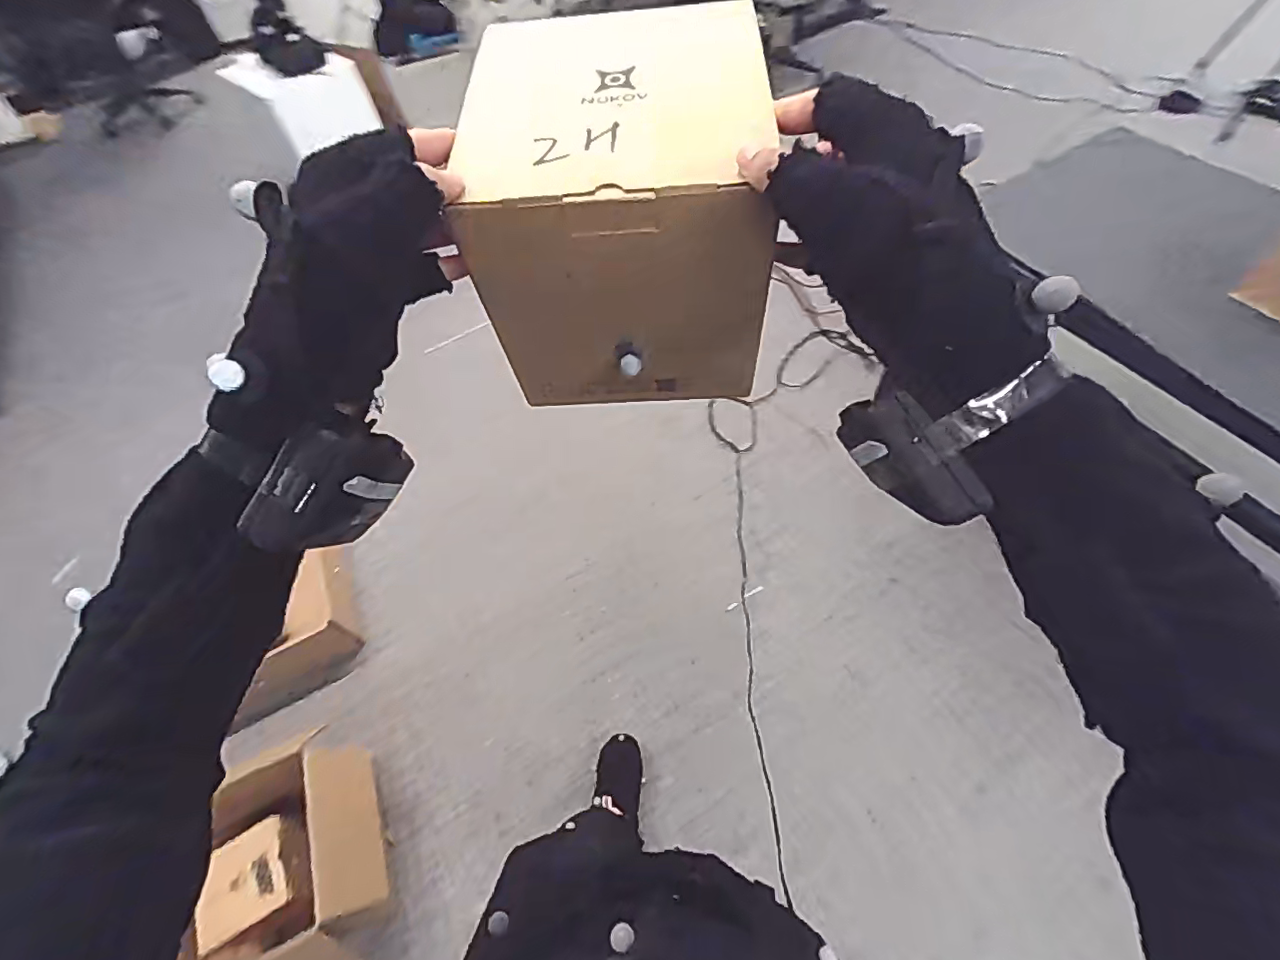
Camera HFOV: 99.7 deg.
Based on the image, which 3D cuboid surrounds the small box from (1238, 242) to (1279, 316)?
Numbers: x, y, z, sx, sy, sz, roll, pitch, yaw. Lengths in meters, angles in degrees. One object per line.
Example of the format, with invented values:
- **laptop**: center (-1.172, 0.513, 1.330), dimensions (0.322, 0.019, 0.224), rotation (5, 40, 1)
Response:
- **small box**: center (1.144, -0.359, 0.861), dimensions (0.179, 0.176, 0.168), rotation (-28, 57, -11)

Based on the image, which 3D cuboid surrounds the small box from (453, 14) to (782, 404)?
- **small box**: center (-0.004, -0.172, 0.371), dimensions (0.168, 0.176, 0.179), rotation (-2, 63, 6)
